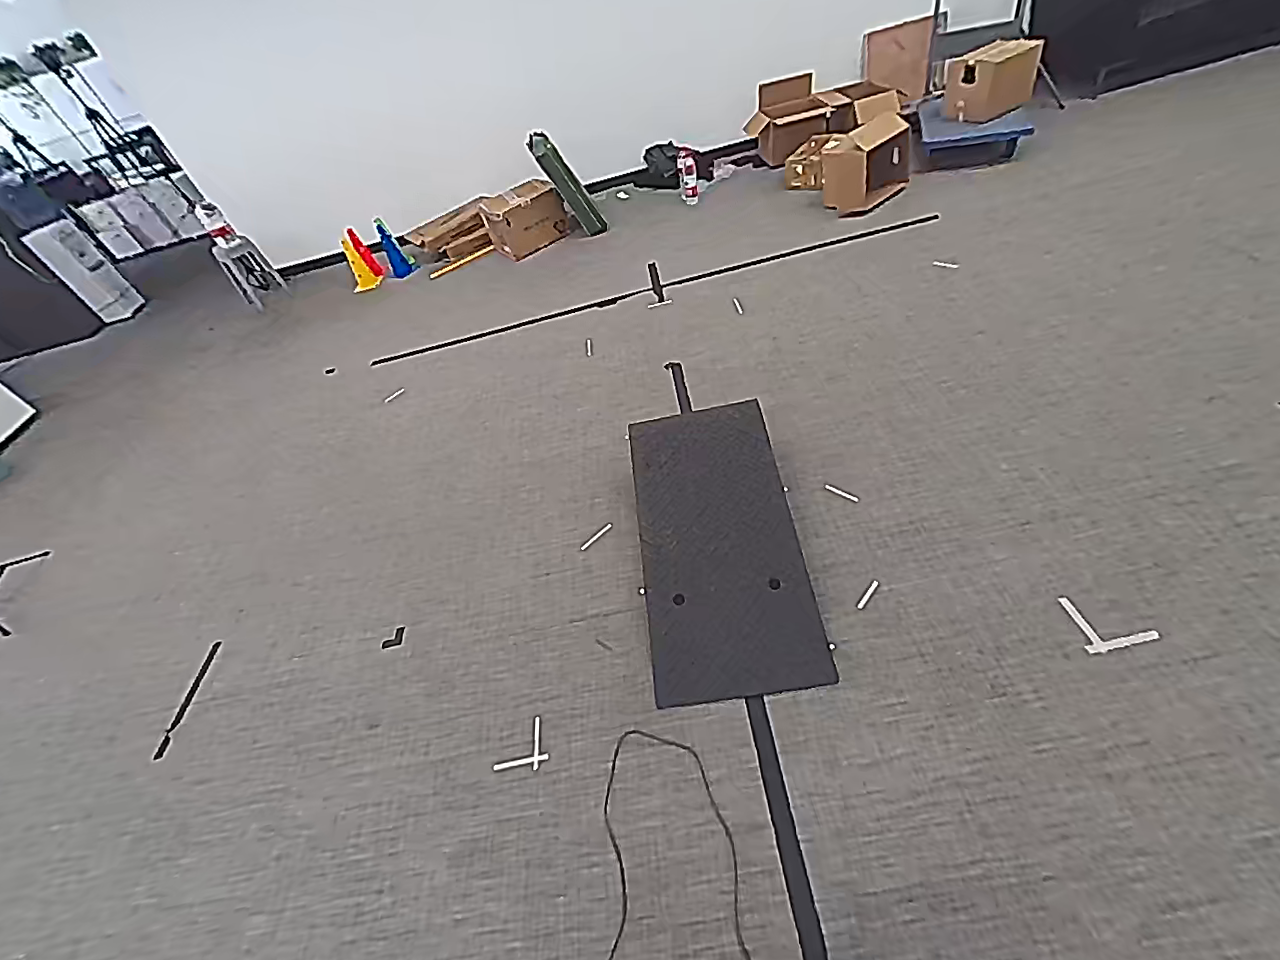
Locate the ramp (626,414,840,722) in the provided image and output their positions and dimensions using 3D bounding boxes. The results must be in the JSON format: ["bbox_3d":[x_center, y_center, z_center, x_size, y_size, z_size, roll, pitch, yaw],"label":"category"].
[{"bbox_3d":[0.242,0.210,1.736,0.509,0.206,0.991,-13,44,4],"label":"ramp"}]
